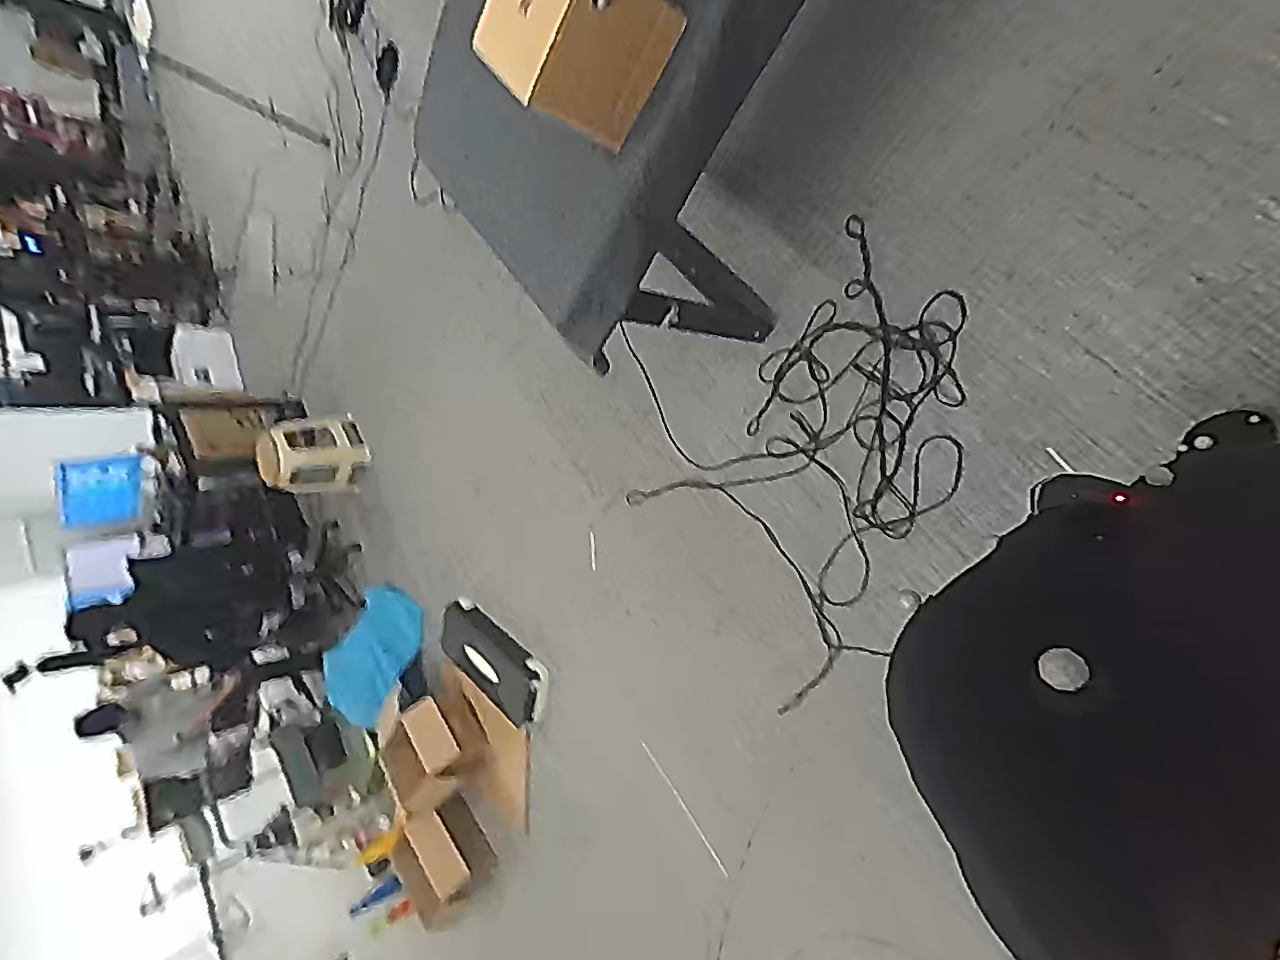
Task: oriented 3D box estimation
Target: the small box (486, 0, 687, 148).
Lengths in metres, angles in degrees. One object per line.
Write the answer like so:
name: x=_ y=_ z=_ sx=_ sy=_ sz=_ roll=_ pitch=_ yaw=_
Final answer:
small box: x=-0.071 y=-0.587 z=0.718 sx=0.179 sy=0.176 sz=0.168 roll=-50 pitch=62 yaw=33
